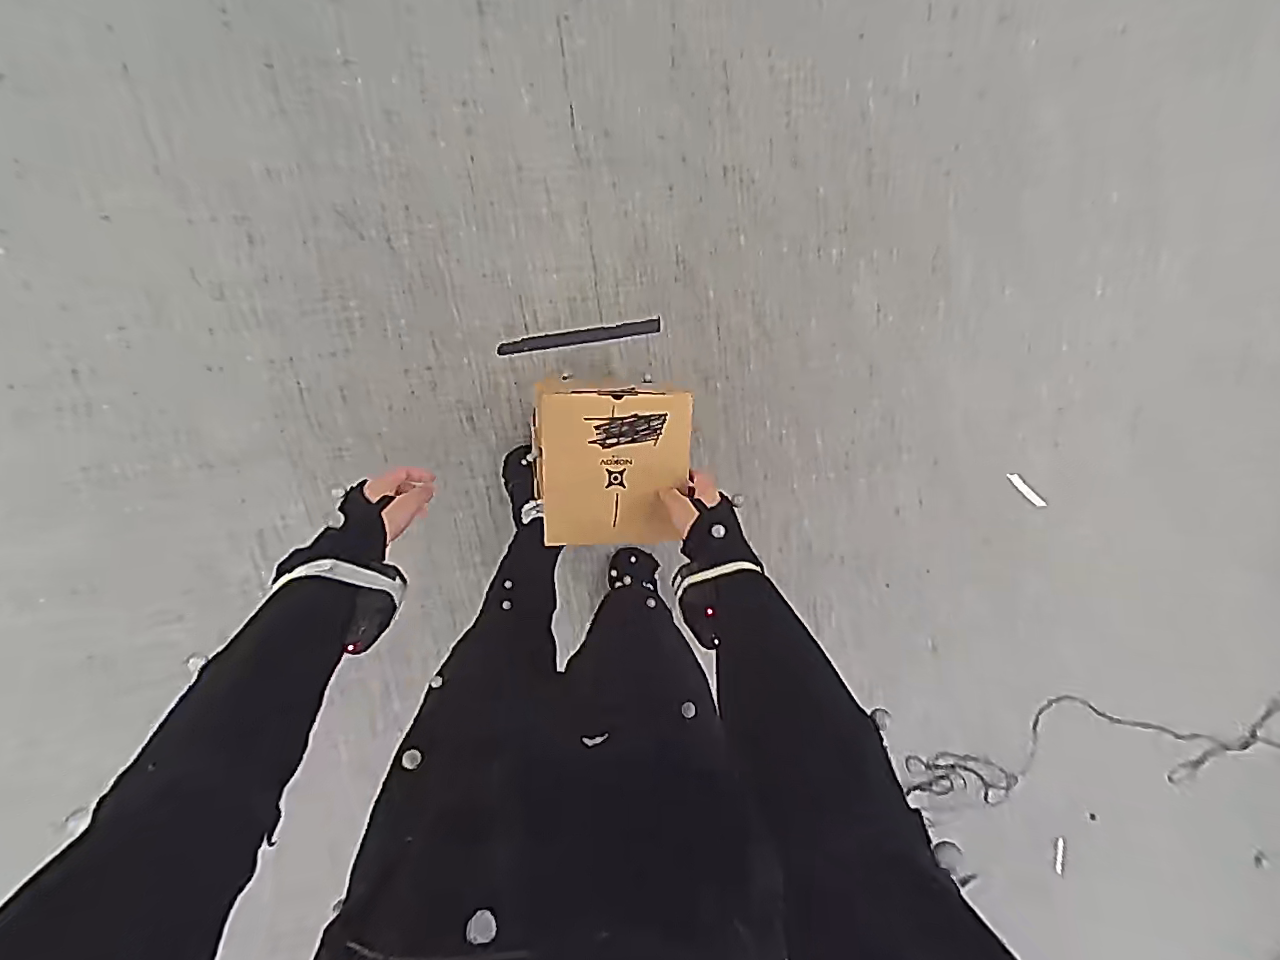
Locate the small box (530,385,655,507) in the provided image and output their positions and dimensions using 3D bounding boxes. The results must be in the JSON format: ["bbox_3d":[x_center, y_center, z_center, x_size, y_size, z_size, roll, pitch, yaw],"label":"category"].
[{"bbox_3d":[-0.077,-0.058,0.840,0.179,0.176,0.168,-1,104,-9],"label":"small box"}]

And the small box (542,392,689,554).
[{"bbox_3d":[-0.039,-0.018,0.685,0.168,0.176,0.179,0,104,-8],"label":"small box"}]
